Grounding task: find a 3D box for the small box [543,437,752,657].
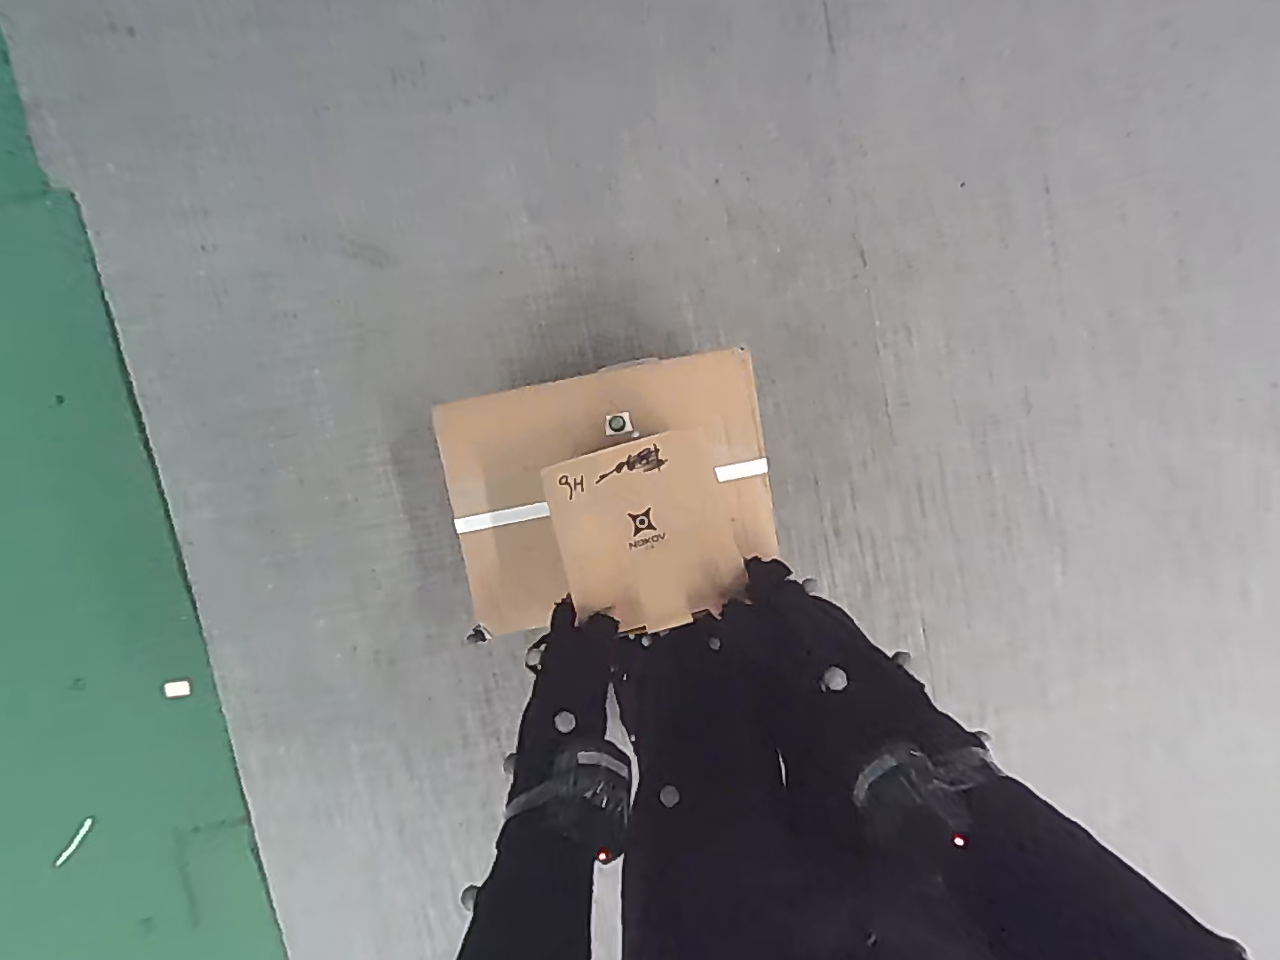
[{"bbox_3d":[0.012,0.071,0.589,0.168,0.176,0.179,-16,81,2],"label":"small box"}]
